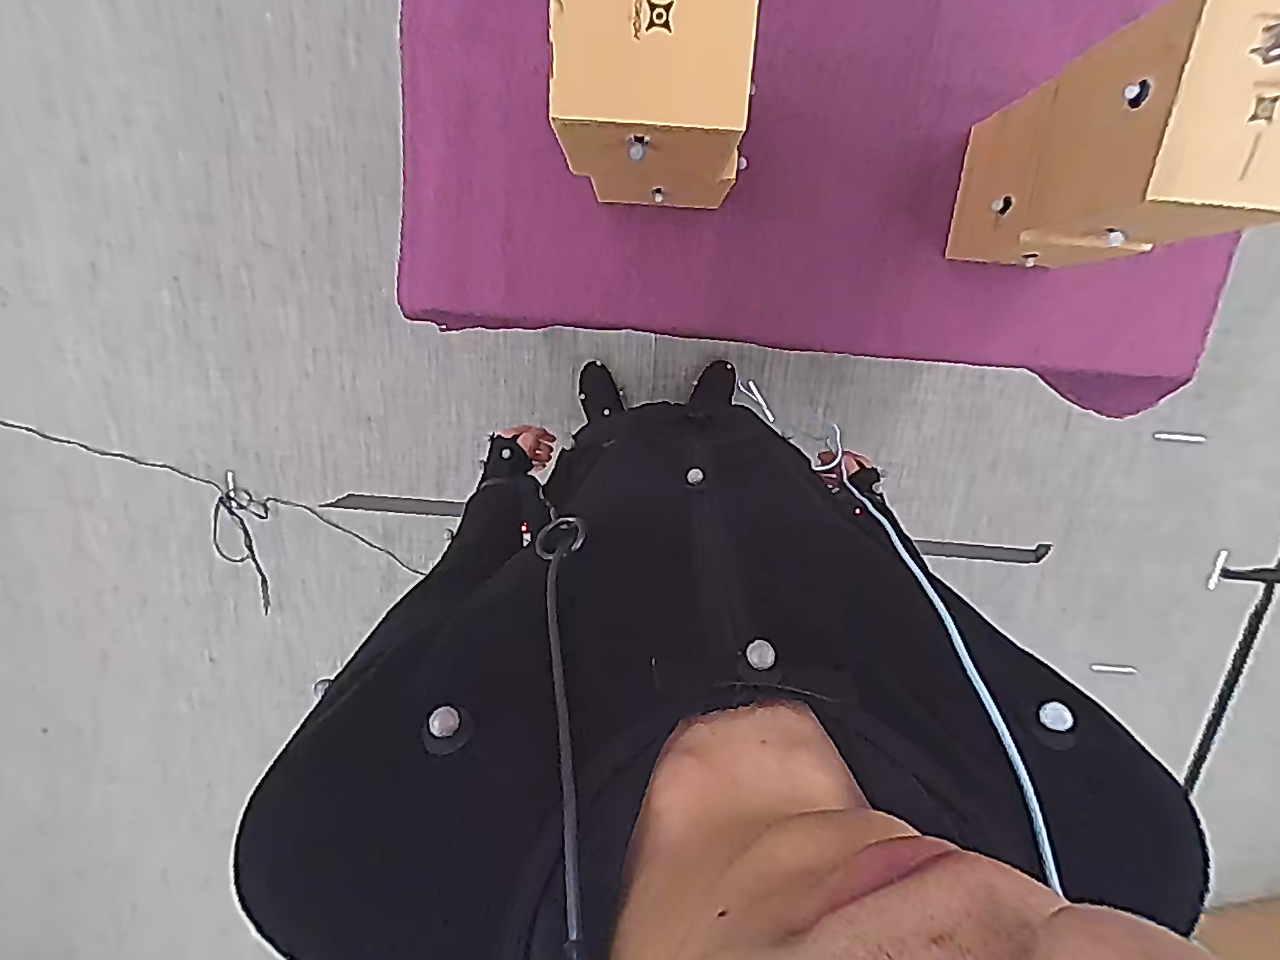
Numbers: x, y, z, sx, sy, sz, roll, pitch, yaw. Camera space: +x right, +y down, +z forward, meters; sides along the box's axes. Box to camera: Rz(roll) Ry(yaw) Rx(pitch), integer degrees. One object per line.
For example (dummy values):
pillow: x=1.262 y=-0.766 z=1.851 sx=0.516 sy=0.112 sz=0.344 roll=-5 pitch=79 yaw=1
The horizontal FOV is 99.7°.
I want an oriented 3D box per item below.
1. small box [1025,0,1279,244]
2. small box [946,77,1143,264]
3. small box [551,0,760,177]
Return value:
small box: x=0.542 y=-0.354 z=0.553 sx=0.168 sy=0.176 sz=0.179 roll=5 pitch=106 yaw=-1
small box: x=0.539 y=-0.390 z=0.714 sx=0.168 sy=0.176 sz=0.179 roll=4 pitch=105 yaw=-2
small box: x=0.014 y=-0.413 z=0.534 sx=0.179 sy=0.176 sz=0.168 roll=4 pitch=106 yaw=0
